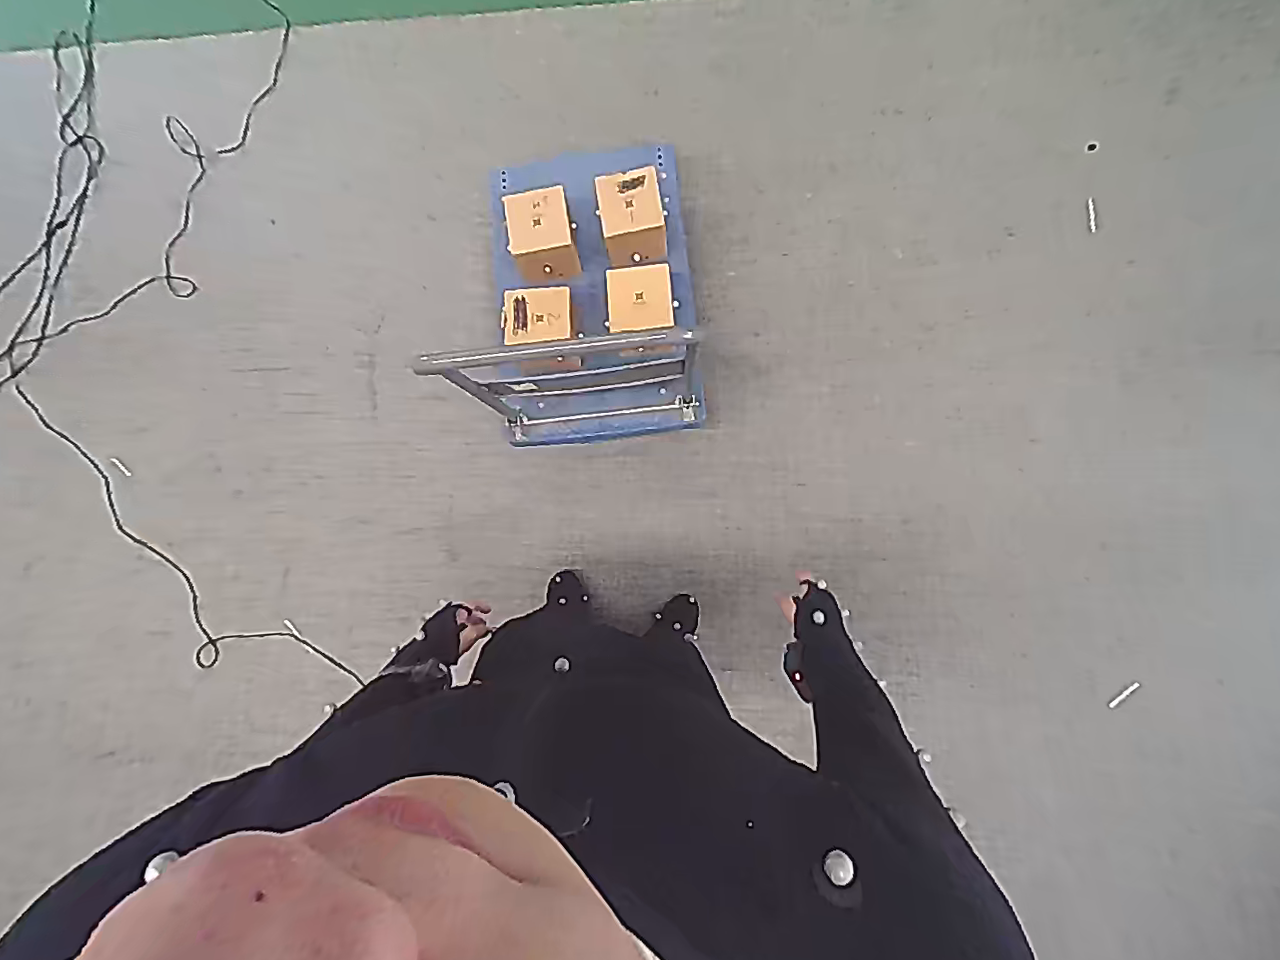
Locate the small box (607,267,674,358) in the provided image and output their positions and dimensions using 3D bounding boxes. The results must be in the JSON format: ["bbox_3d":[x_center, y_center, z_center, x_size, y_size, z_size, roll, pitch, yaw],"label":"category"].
[{"bbox_3d":[0.003,-0.450,1.470,0.168,0.176,0.179,-5,83,4],"label":"small box"}]

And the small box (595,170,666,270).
[{"bbox_3d":[-0.022,-0.717,1.504,0.168,0.176,0.179,-9,83,4],"label":"small box"}]

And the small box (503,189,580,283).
[{"bbox_3d":[-0.270,-0.673,1.519,0.168,0.176,0.179,-9,82,3],"label":"small box"}]
